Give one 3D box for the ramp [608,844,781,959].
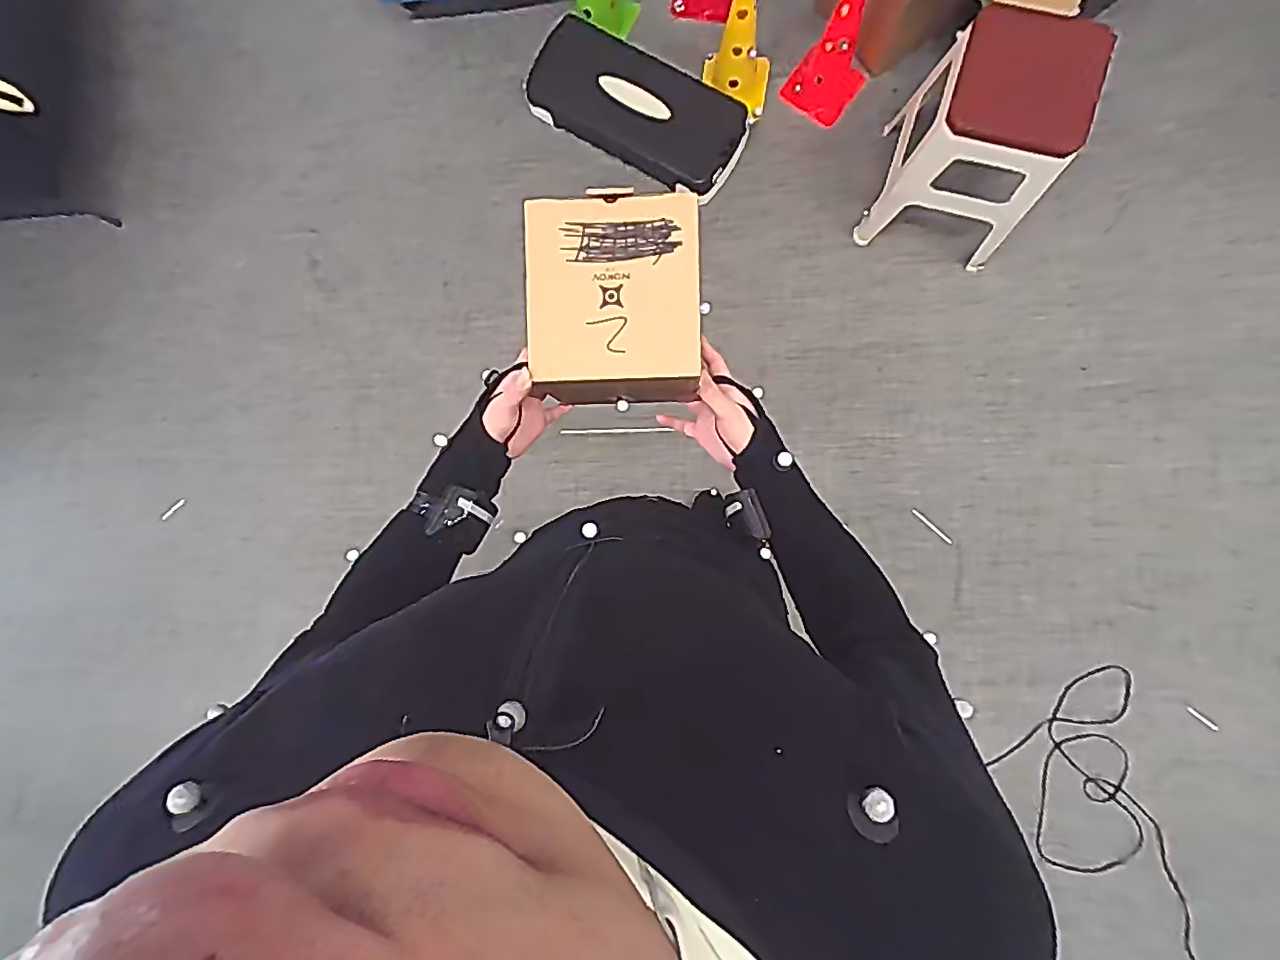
[{"bbox_3d":[0.157,1.567,1.491,0.509,0.206,0.991,-4,87,6],"label":"ramp"}]
